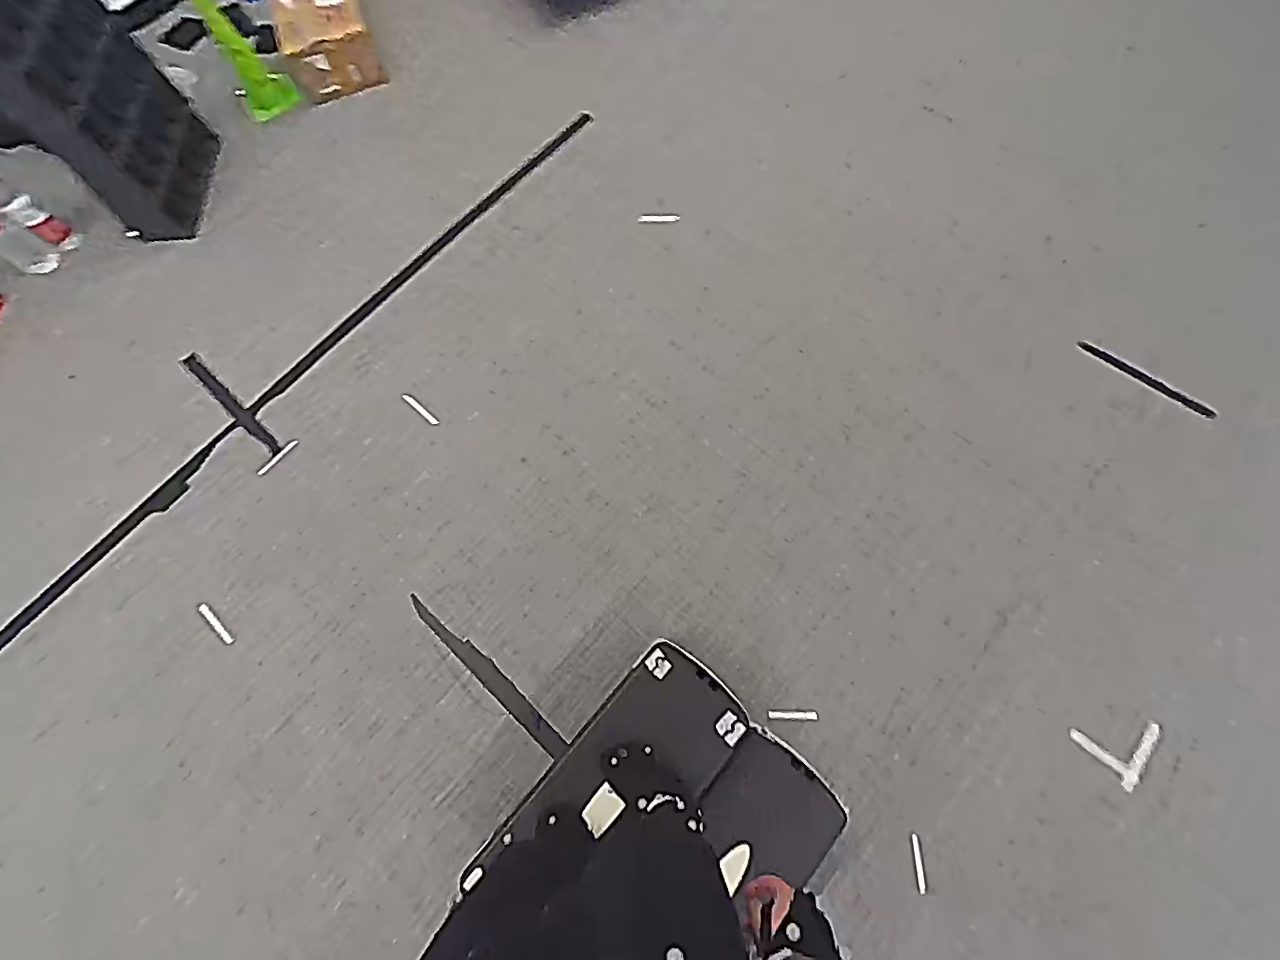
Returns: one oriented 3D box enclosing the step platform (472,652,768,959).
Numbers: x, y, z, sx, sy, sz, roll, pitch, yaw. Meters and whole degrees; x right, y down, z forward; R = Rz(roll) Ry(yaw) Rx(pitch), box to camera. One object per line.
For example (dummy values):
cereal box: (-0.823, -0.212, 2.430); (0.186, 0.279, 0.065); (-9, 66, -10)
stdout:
step platform: (-0.030, 0.716, 1.201); (0.684, 0.204, 0.286); (-43, 73, -13)
